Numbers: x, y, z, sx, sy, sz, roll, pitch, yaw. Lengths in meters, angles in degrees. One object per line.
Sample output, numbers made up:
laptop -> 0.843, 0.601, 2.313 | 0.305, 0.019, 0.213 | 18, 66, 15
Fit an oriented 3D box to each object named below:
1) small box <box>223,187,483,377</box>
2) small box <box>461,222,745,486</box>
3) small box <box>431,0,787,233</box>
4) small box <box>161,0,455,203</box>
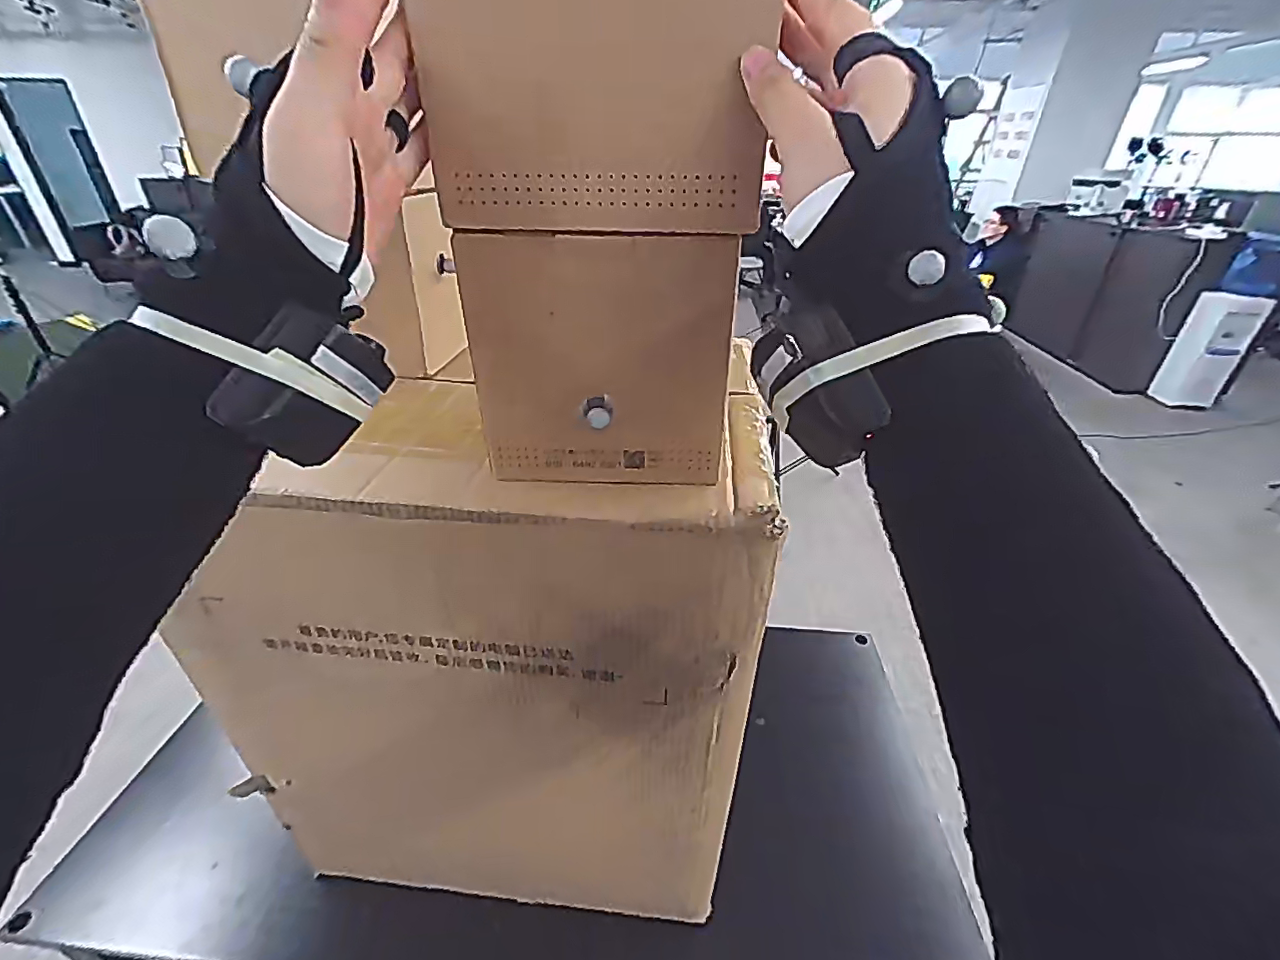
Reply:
small box -> -0.276, -0.219, 0.576 | 0.168, 0.176, 0.179 | 5, 32, 3
small box -> -0.018, -0.112, 0.415 | 0.168, 0.176, 0.179 | 1, 33, 2
small box -> -0.012, -0.245, 0.317 | 0.179, 0.176, 0.168 | 3, 33, 4
small box -> -0.269, -0.350, 0.476 | 0.168, 0.176, 0.179 | 5, 32, 5
